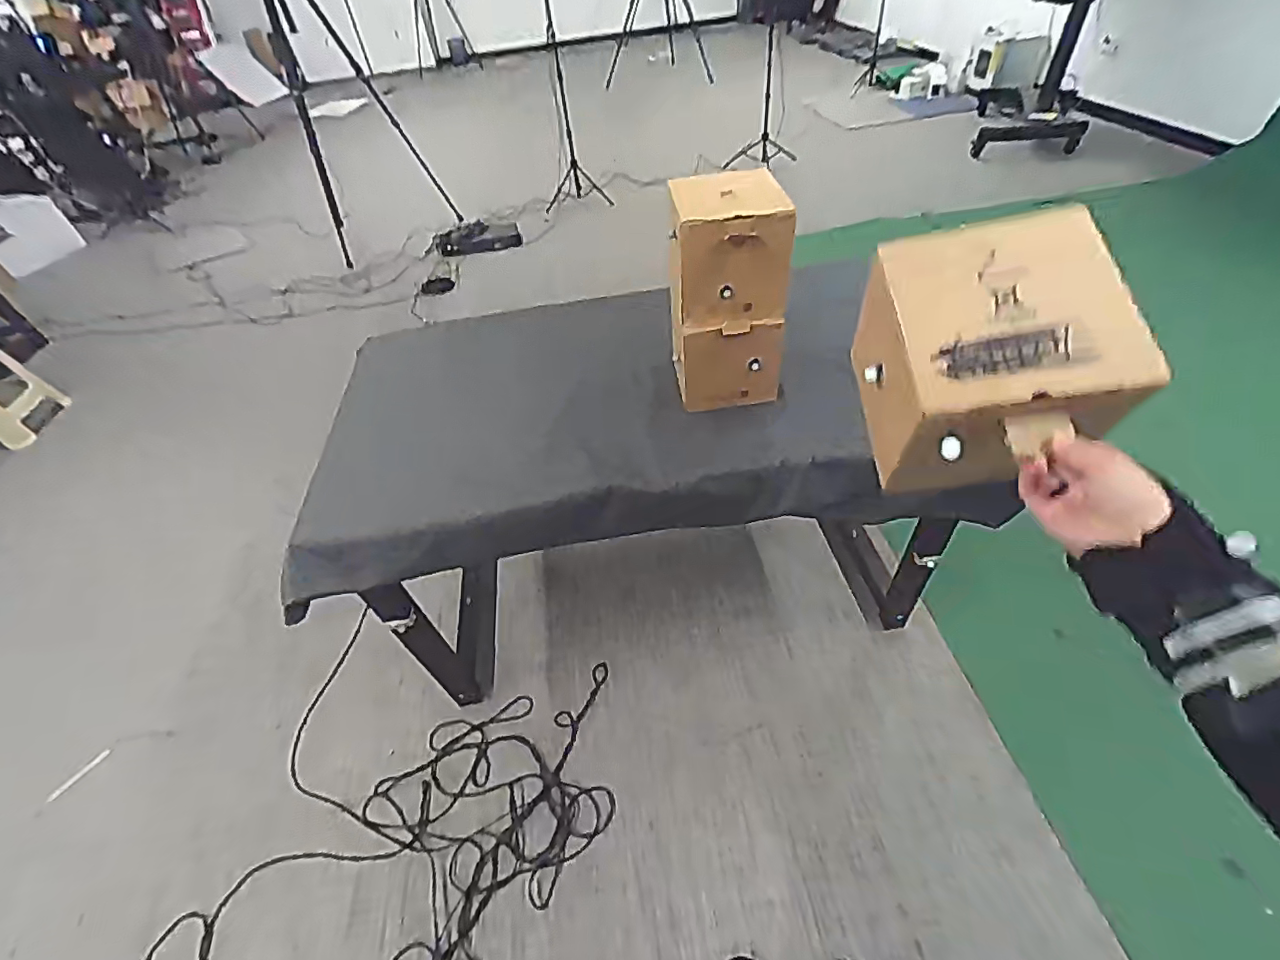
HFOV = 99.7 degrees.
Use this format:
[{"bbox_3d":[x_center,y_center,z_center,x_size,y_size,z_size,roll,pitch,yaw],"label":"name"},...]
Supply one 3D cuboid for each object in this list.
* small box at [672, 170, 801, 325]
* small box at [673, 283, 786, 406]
[{"bbox_3d":[0.141,-0.369,0.863,0.168,0.176,0.179,-6,47,0],"label":"small box"},{"bbox_3d":[0.153,-0.246,0.969,0.168,0.176,0.179,-7,45,-1],"label":"small box"}]
